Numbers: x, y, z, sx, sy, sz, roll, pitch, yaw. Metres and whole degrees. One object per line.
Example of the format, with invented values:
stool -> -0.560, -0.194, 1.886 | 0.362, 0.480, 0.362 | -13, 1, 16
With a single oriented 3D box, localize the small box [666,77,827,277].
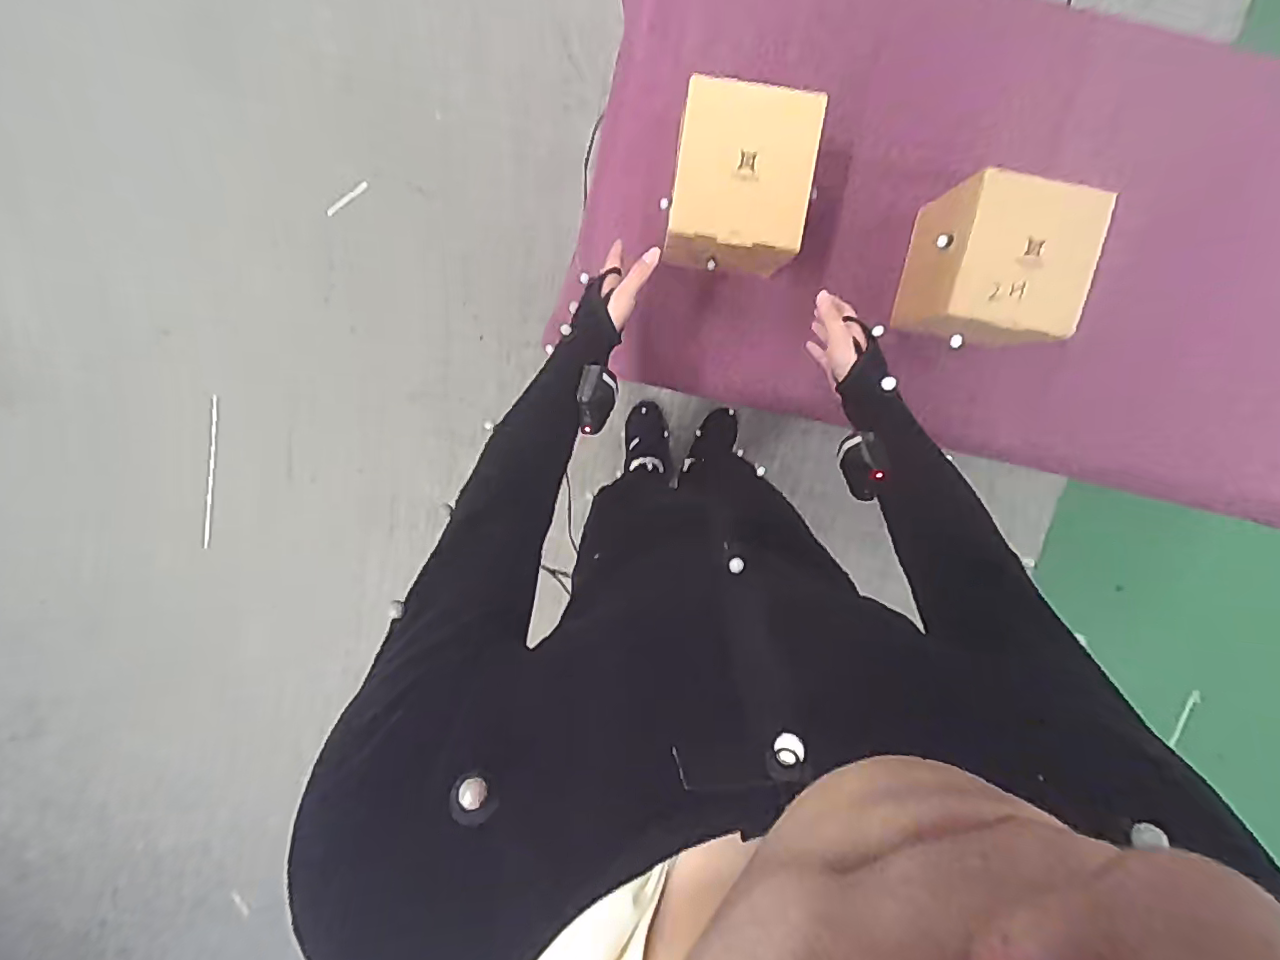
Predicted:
small box -> 0.127, -0.387, 0.721 | 0.168, 0.176, 0.179 | 8, 101, -1

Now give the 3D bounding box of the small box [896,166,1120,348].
small box -> 0.477, -0.286, 0.733 | 0.168, 0.176, 0.179 | 11, 100, -1
